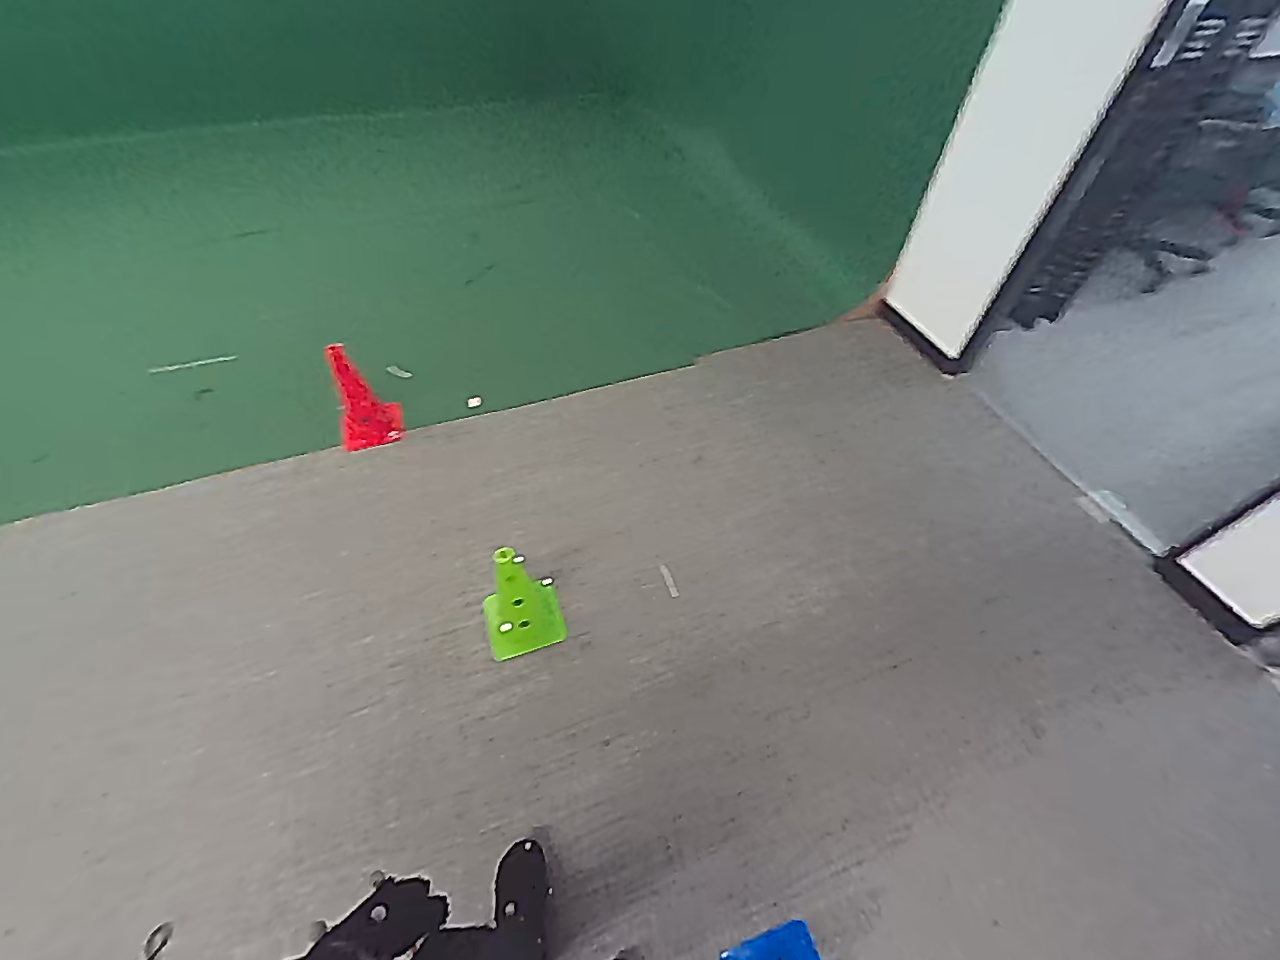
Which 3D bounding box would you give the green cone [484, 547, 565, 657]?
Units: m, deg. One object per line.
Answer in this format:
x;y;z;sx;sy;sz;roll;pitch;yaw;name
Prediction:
-0.324;0.275;1.386;0.200;0.368;0.202;-16;55;-14;green cone

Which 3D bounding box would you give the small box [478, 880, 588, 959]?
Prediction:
-0.217;0.922;1.058;0.168;0.176;0.179;21;60;-8;small box
